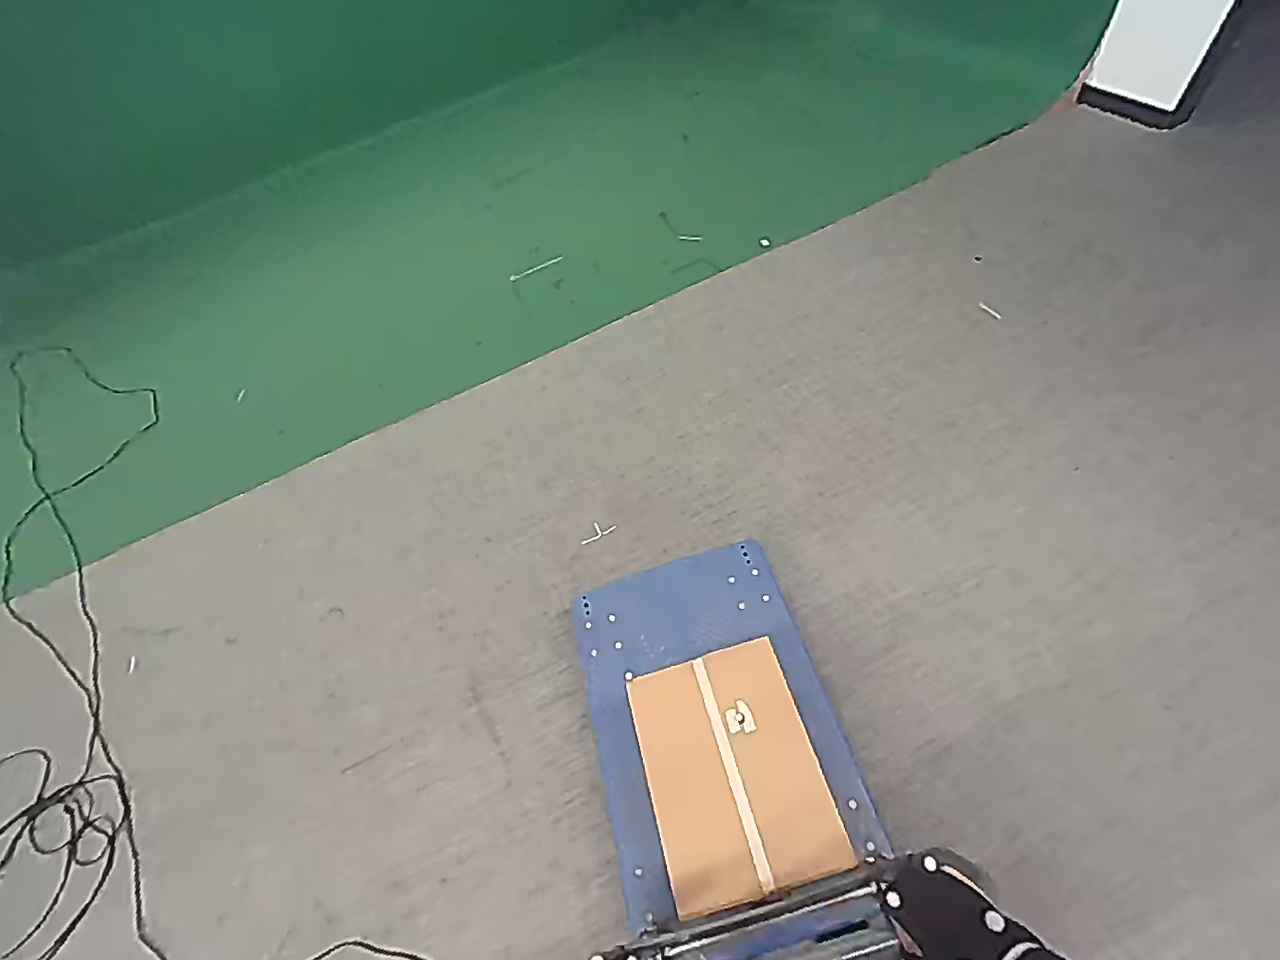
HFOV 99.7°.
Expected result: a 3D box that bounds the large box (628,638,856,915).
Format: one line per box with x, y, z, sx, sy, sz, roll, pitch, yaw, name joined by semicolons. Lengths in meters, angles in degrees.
0.196;0.608;1.128;0.320;0.320;0.408;-17;54;0;large box
